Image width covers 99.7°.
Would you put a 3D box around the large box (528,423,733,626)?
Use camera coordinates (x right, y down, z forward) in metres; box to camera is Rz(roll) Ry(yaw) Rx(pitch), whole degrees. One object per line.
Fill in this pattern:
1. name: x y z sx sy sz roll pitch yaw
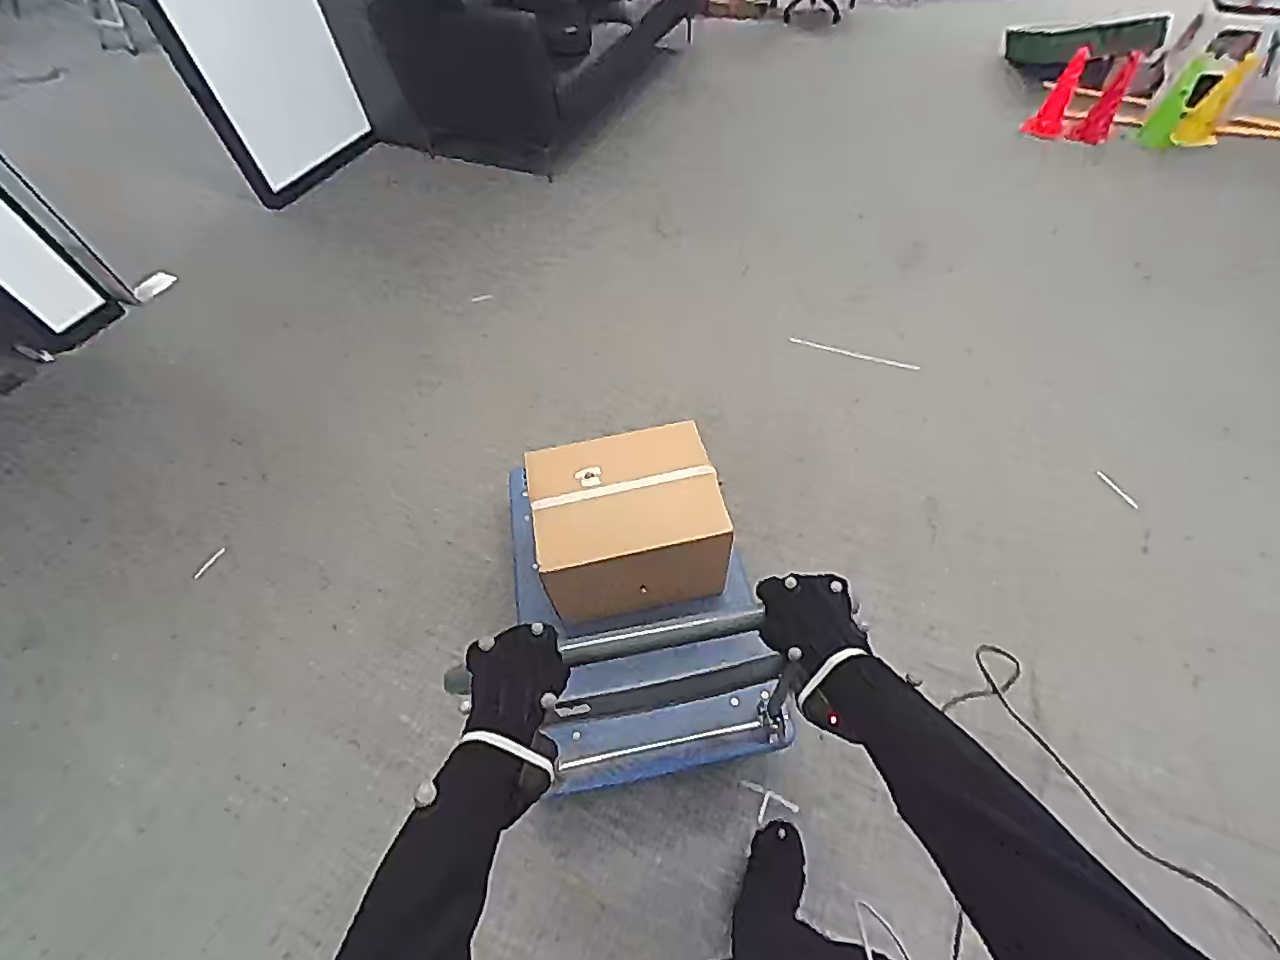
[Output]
1. large box: -0.022 0.114 1.299 0.408 0.320 0.320 -13 55 -4
